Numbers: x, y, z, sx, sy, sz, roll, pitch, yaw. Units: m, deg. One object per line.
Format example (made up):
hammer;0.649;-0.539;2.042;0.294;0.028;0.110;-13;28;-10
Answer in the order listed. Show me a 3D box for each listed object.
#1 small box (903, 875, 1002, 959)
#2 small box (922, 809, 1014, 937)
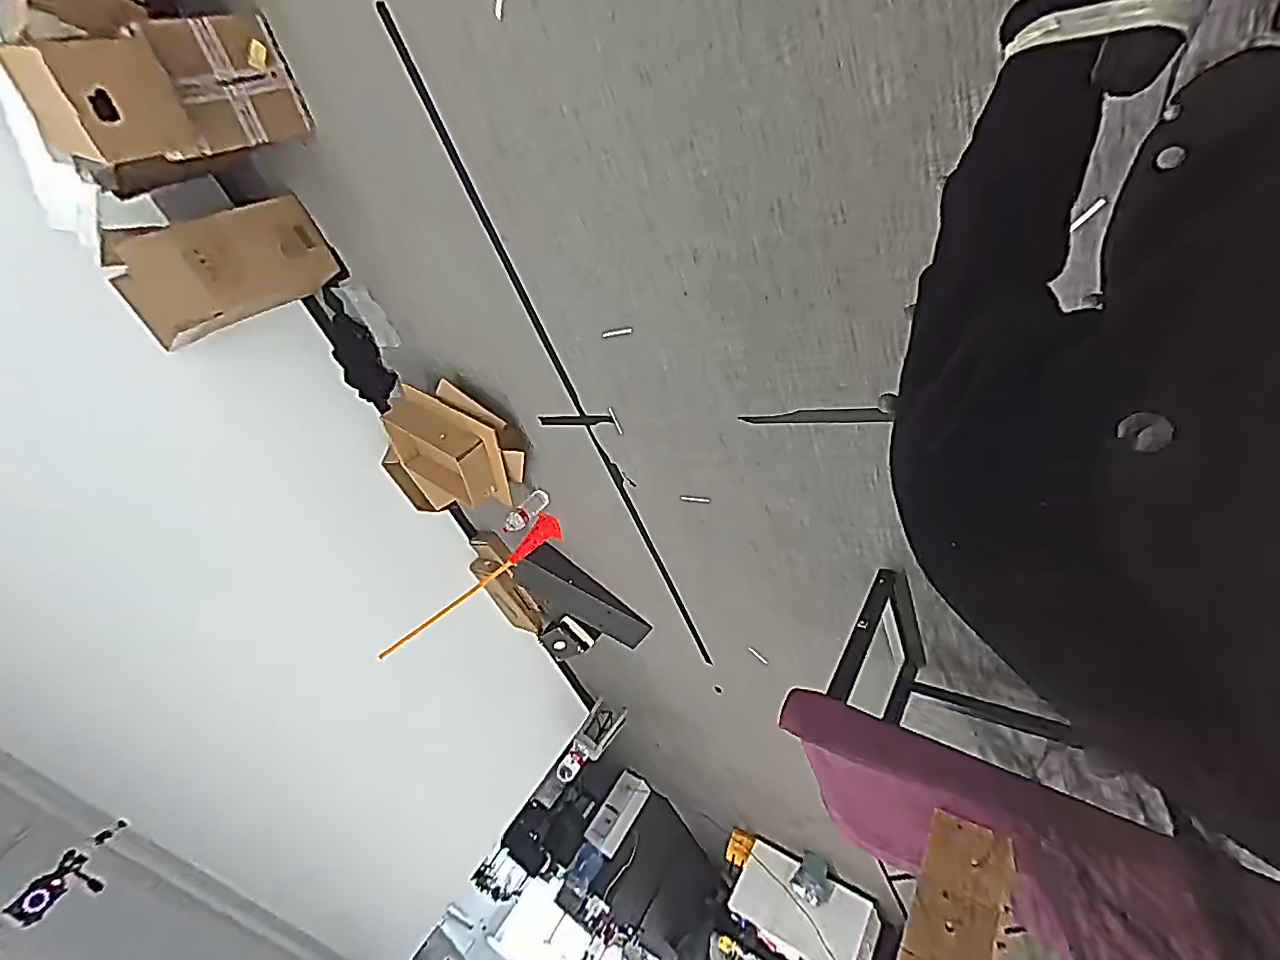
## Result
small box;0.722;1.062;1.244;0.168;0.176;0.179;5;131;41
small box;0.813;0.959;1.334;0.168;0.176;0.179;4;131;42
